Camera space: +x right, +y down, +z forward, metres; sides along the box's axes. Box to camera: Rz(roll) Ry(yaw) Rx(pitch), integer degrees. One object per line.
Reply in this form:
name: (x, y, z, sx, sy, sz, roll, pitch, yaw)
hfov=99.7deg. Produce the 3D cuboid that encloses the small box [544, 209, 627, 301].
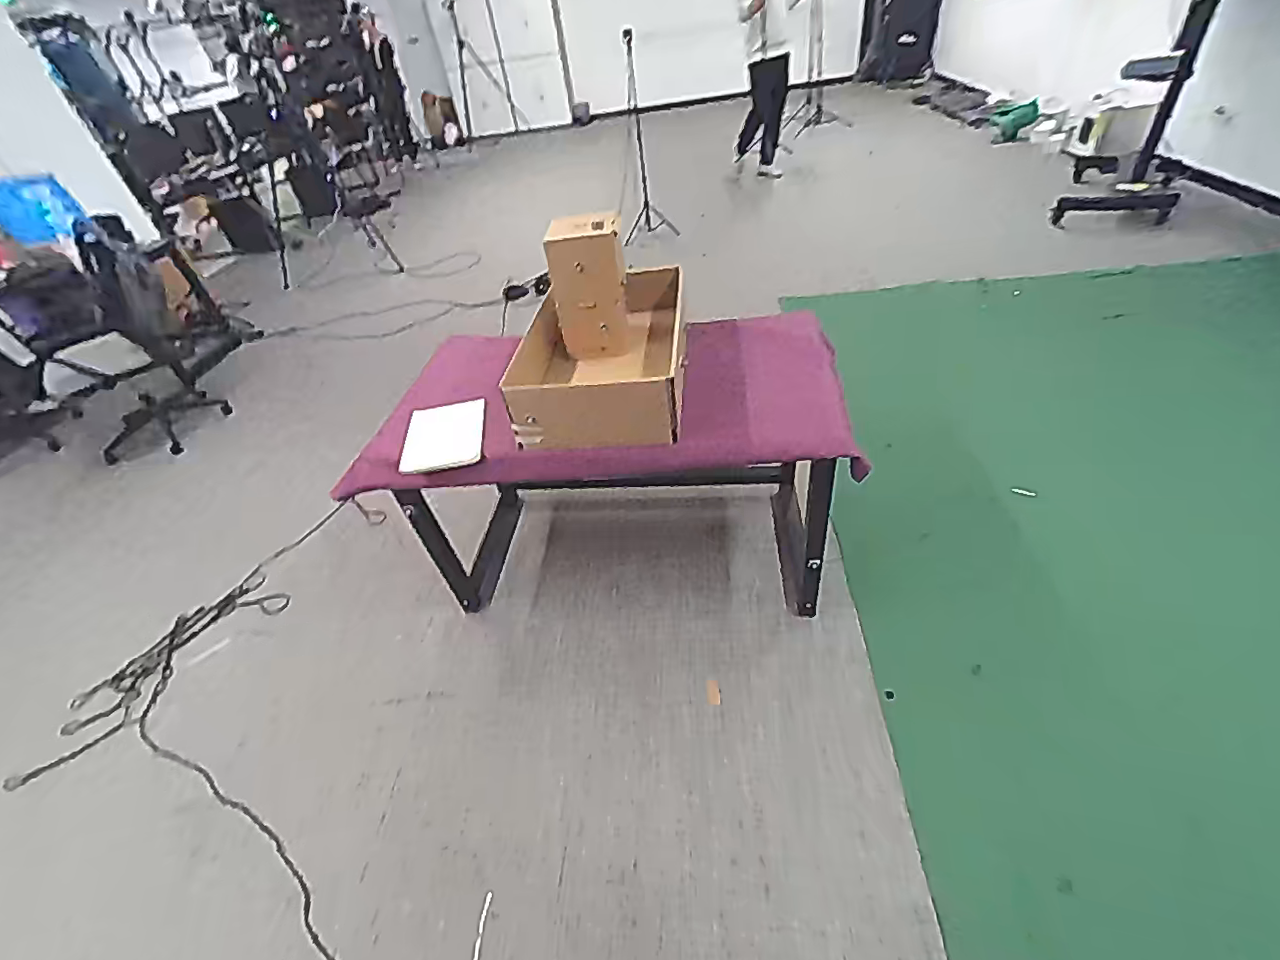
small box: (-0.133, -0.584, 1.410, 0.179, 0.176, 0.168, -4, 43, 7)
